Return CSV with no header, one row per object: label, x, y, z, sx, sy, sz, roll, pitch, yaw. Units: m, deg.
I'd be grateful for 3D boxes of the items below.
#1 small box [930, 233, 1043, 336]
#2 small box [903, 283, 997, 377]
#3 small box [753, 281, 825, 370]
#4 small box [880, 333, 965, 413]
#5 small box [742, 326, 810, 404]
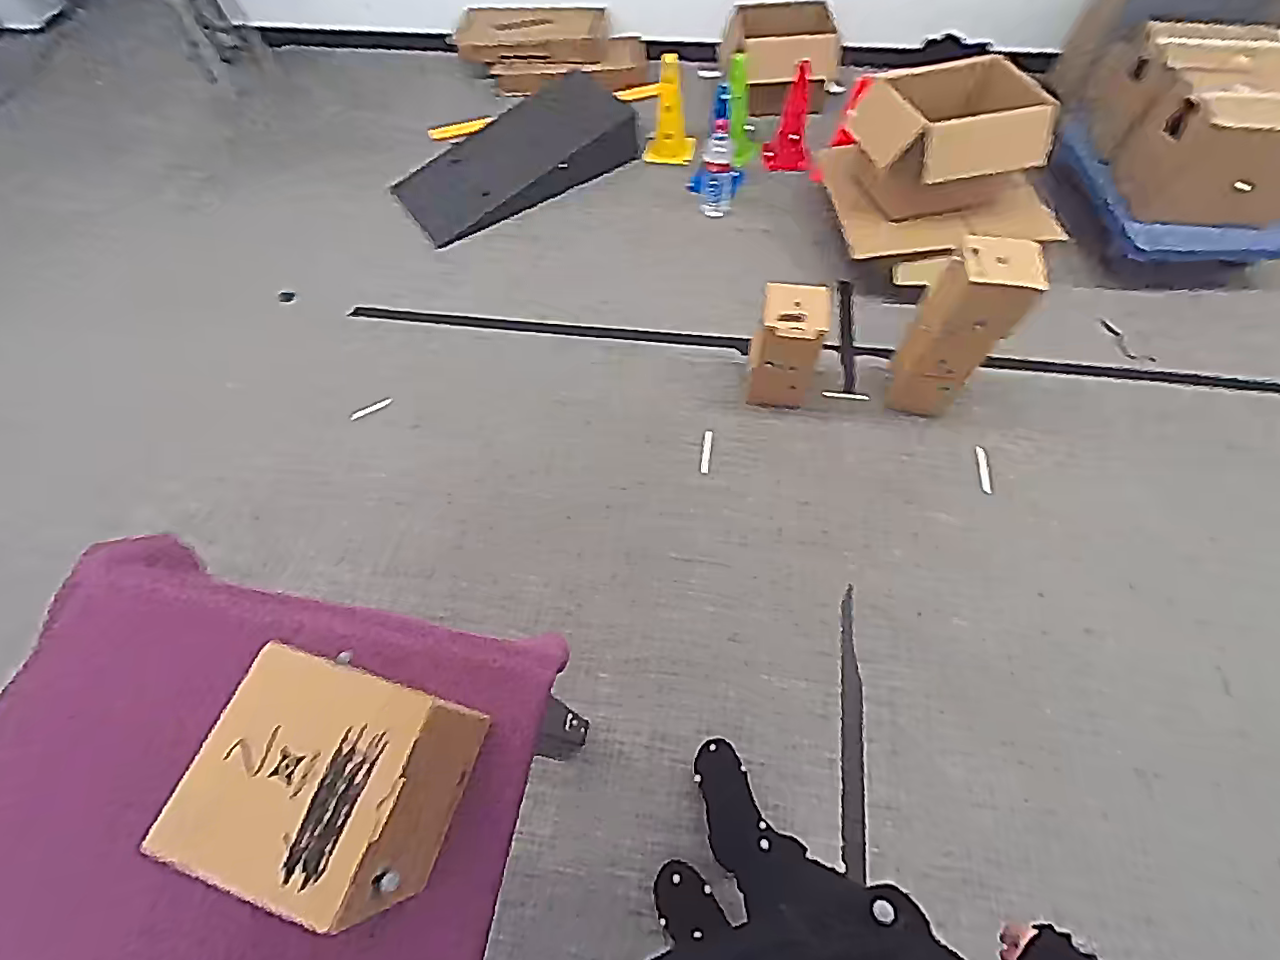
small box,0.855,-0.483,1.352,0.179,0.176,0.168,10,63,5
small box,0.849,-0.414,1.501,0.168,0.176,0.179,8,62,5
small box,0.416,-0.430,1.522,0.168,0.176,0.179,7,60,6
small box,0.850,-0.324,1.637,0.179,0.176,0.168,11,62,7
small box,0.415,-0.352,1.666,0.179,0.176,0.168,4,60,5
